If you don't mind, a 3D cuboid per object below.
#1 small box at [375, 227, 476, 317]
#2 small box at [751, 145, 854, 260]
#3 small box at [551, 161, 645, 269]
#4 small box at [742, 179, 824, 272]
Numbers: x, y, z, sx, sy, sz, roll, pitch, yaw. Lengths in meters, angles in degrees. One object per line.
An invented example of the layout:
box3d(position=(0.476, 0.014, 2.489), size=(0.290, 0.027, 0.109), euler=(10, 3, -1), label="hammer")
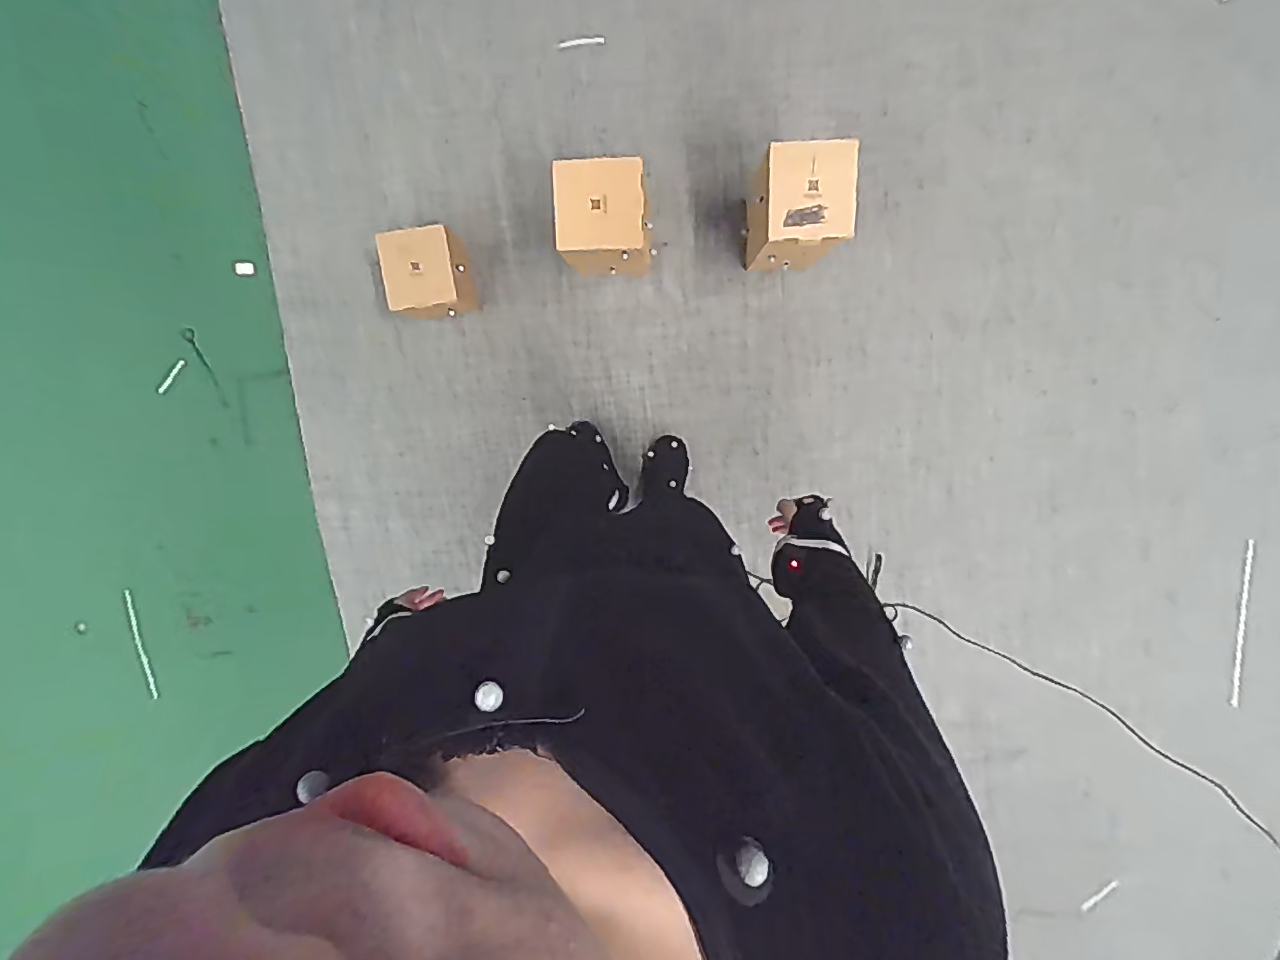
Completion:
box3d(position=(-0.517, -0.501, 1.331), size=(0.168, 0.176, 0.179), euler=(-6, 99, 3), label="small box")
box3d(position=(0.324, -0.556, 1.107), size=(0.168, 0.176, 0.179), euler=(0, 100, 3), label="small box")
box3d(position=(-0.081, -0.546, 1.132), size=(0.179, 0.176, 0.168), euler=(0, 100, 3), label="small box")
box3d(position=(0.333, -0.591, 1.269), size=(0.168, 0.176, 0.179), euler=(-2, 101, 3), label="small box")
